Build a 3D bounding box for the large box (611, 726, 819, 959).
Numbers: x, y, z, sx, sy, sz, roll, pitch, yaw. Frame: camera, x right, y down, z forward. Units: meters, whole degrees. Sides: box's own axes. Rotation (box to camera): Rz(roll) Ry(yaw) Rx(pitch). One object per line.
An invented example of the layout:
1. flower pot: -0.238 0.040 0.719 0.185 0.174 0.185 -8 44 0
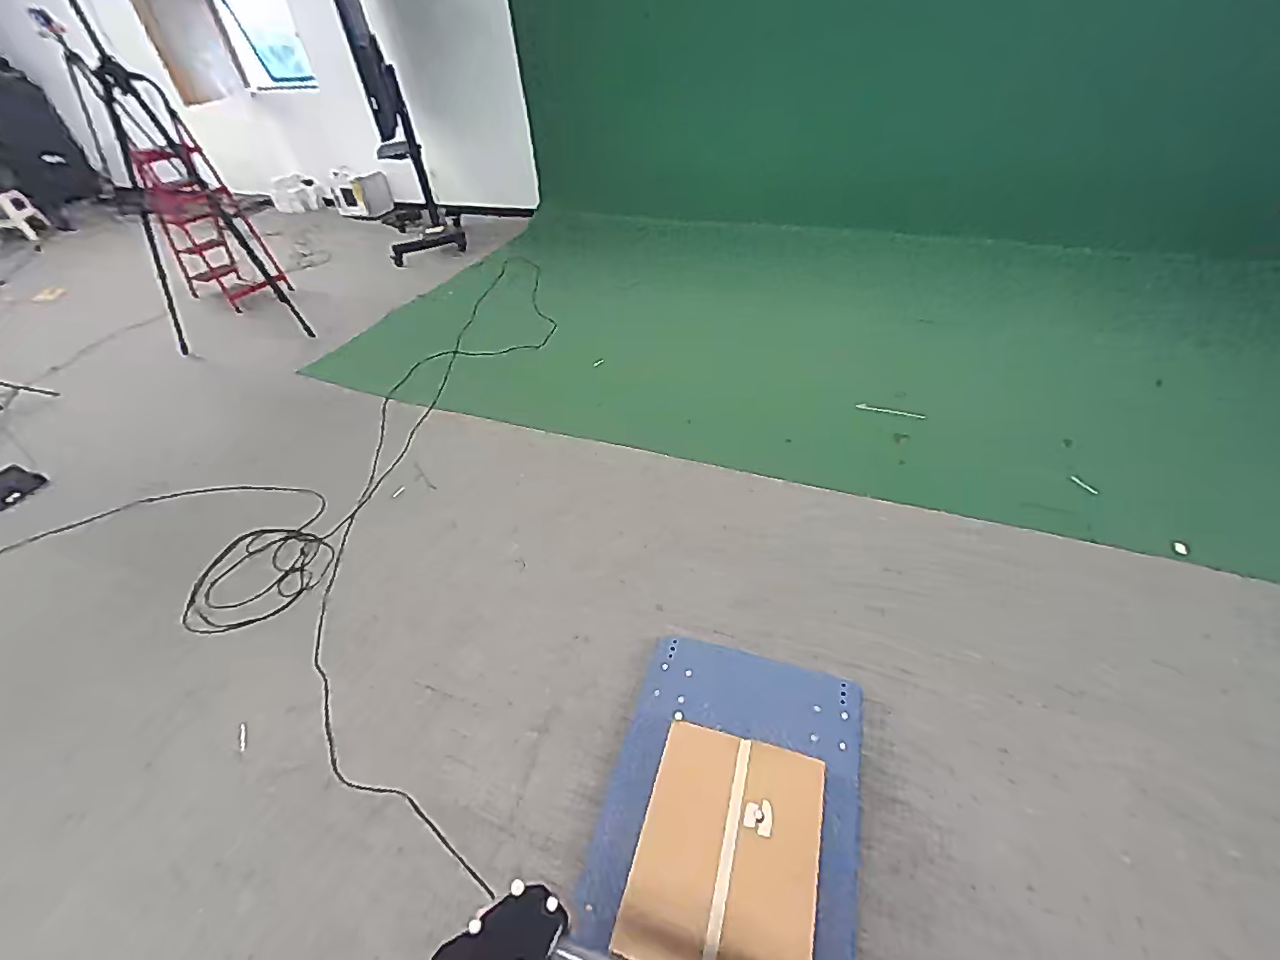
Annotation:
1. large box: 0.163 0.785 1.070 0.320 0.320 0.408 10 42 16
